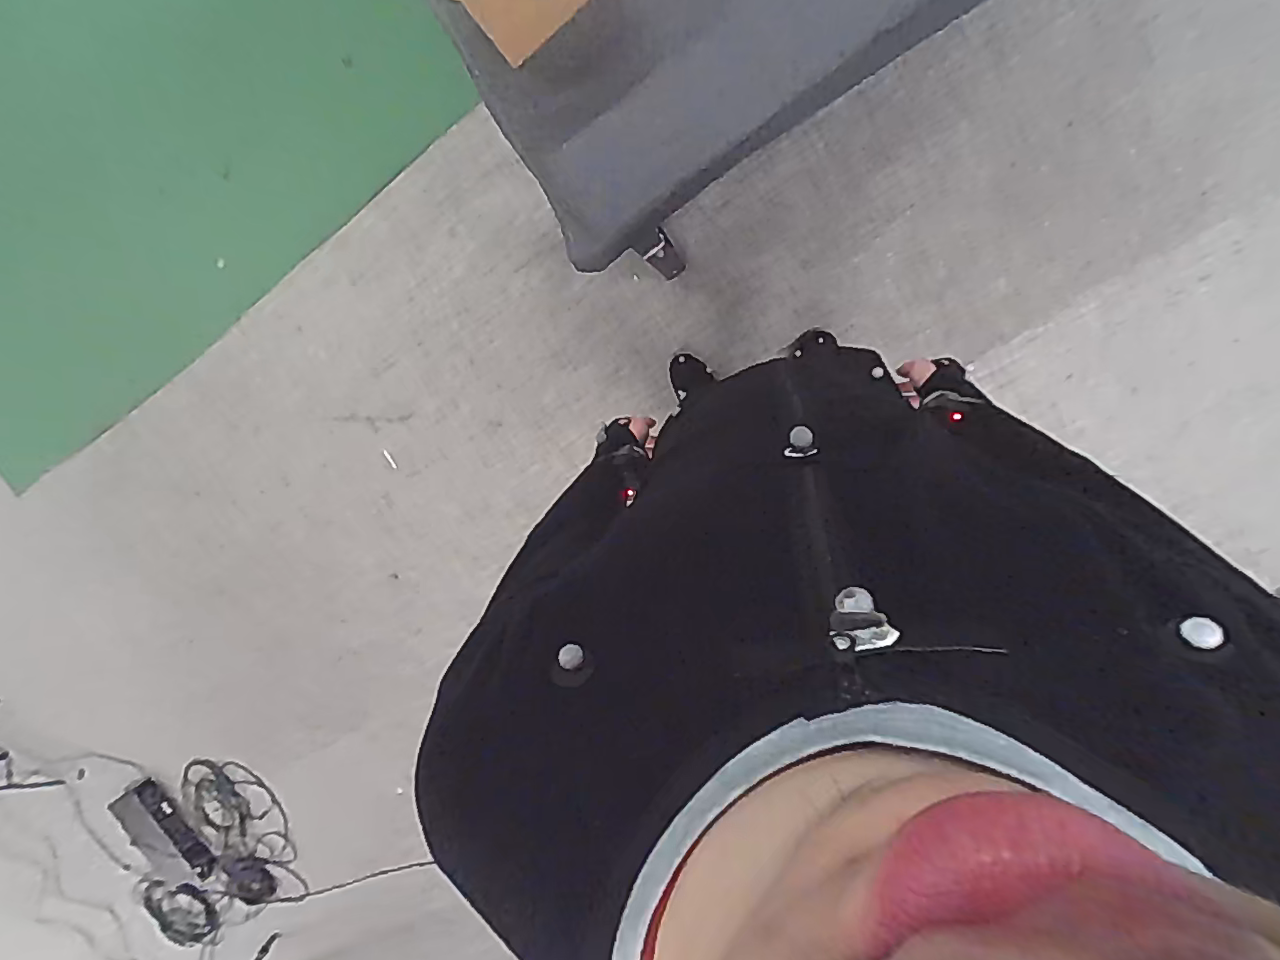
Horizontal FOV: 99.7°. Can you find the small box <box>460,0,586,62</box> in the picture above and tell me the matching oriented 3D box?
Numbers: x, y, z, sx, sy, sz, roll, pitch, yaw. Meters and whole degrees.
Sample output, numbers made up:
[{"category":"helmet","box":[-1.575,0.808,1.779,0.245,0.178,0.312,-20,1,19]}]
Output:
[{"category":"small box","box":[-0.155,-0.640,0.613,0.179,0.176,0.168,-32,97,16]}]
